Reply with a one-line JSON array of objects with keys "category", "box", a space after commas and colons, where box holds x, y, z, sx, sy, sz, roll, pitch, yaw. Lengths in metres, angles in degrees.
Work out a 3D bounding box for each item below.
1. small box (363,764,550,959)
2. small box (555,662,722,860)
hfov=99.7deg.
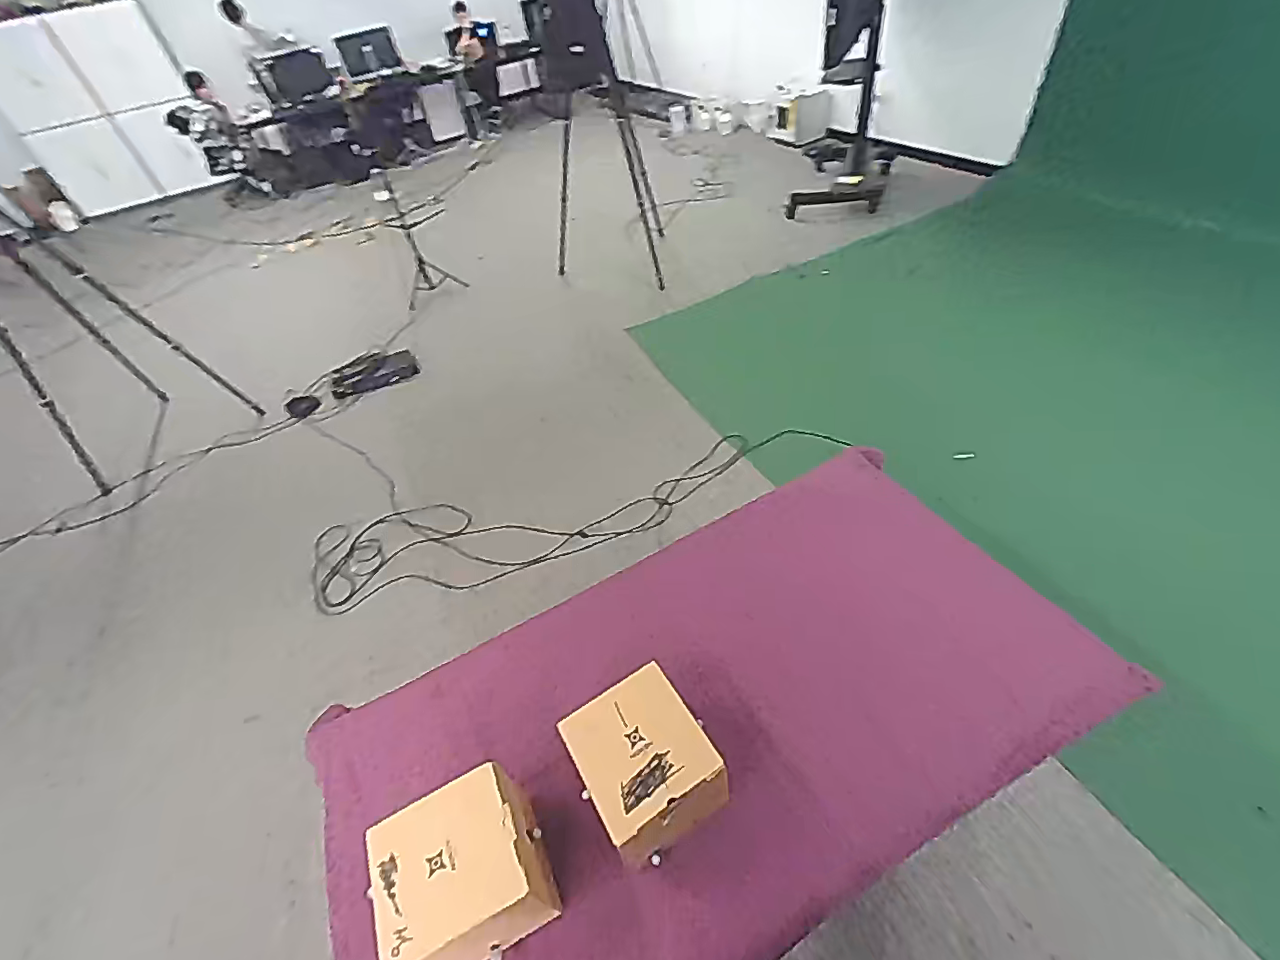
[{"category": "small box", "box": [-0.230, 0.515, 0.707, 0.179, 0.176, 0.168, -24, 47, -14]}, {"category": "small box", "box": [0.005, 0.404, 0.771, 0.168, 0.176, 0.179, -28, 47, -17]}]
